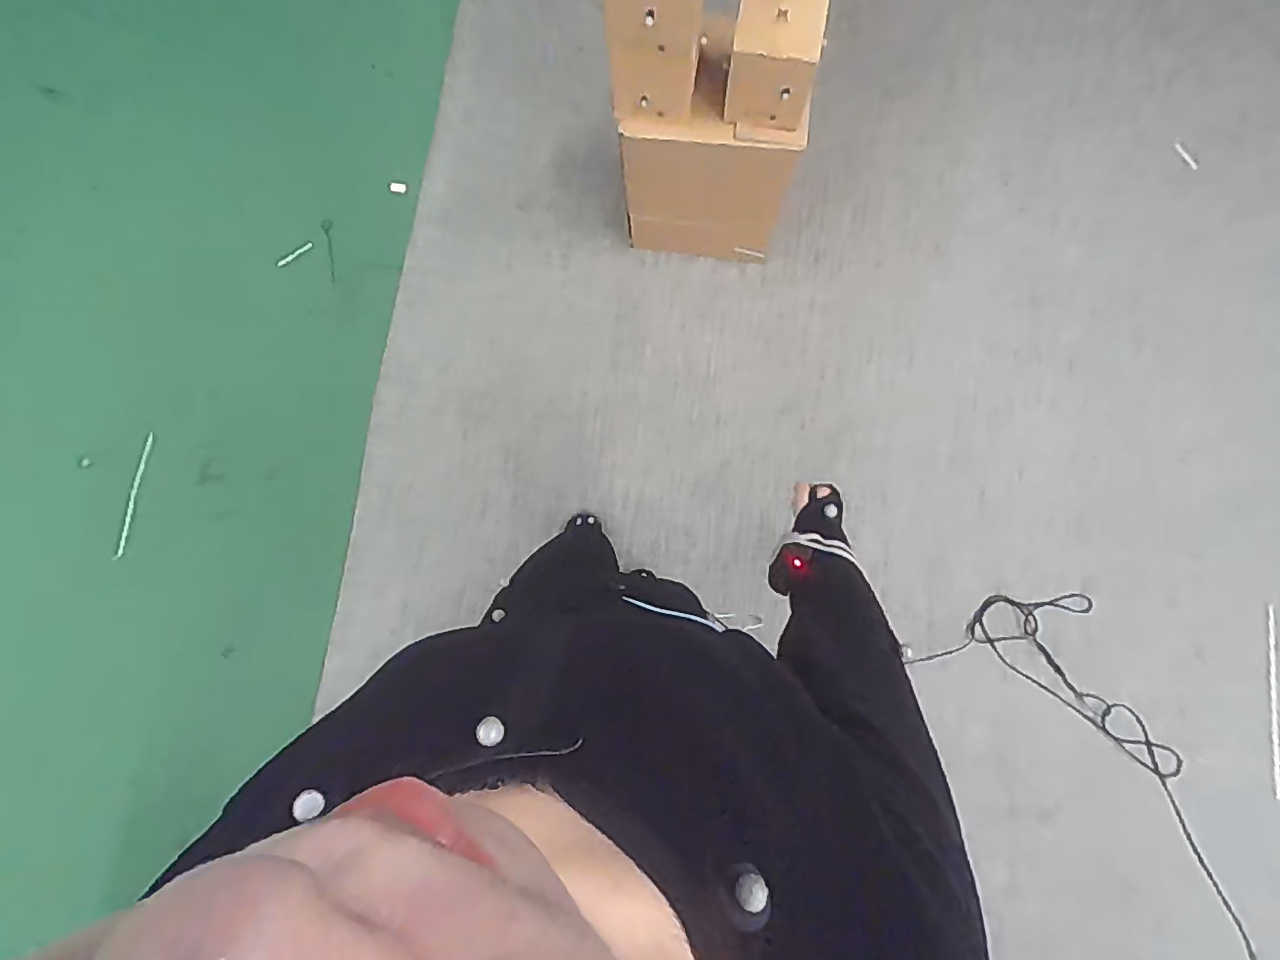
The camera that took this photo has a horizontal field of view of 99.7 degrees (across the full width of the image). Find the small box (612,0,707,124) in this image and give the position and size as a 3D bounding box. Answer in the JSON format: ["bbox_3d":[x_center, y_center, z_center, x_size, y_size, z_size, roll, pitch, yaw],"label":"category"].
[{"bbox_3d":[0.038,-0.878,1.104,0.168,0.176,0.179,8,85,2],"label":"small box"}]

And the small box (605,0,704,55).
[{"bbox_3d":[0.033,-0.891,0.940,0.168,0.176,0.179,9,85,2],"label":"small box"}]

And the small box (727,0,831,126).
[{"bbox_3d":[0.274,-0.859,1.091,0.168,0.176,0.179,11,82,4],"label":"small box"}]
